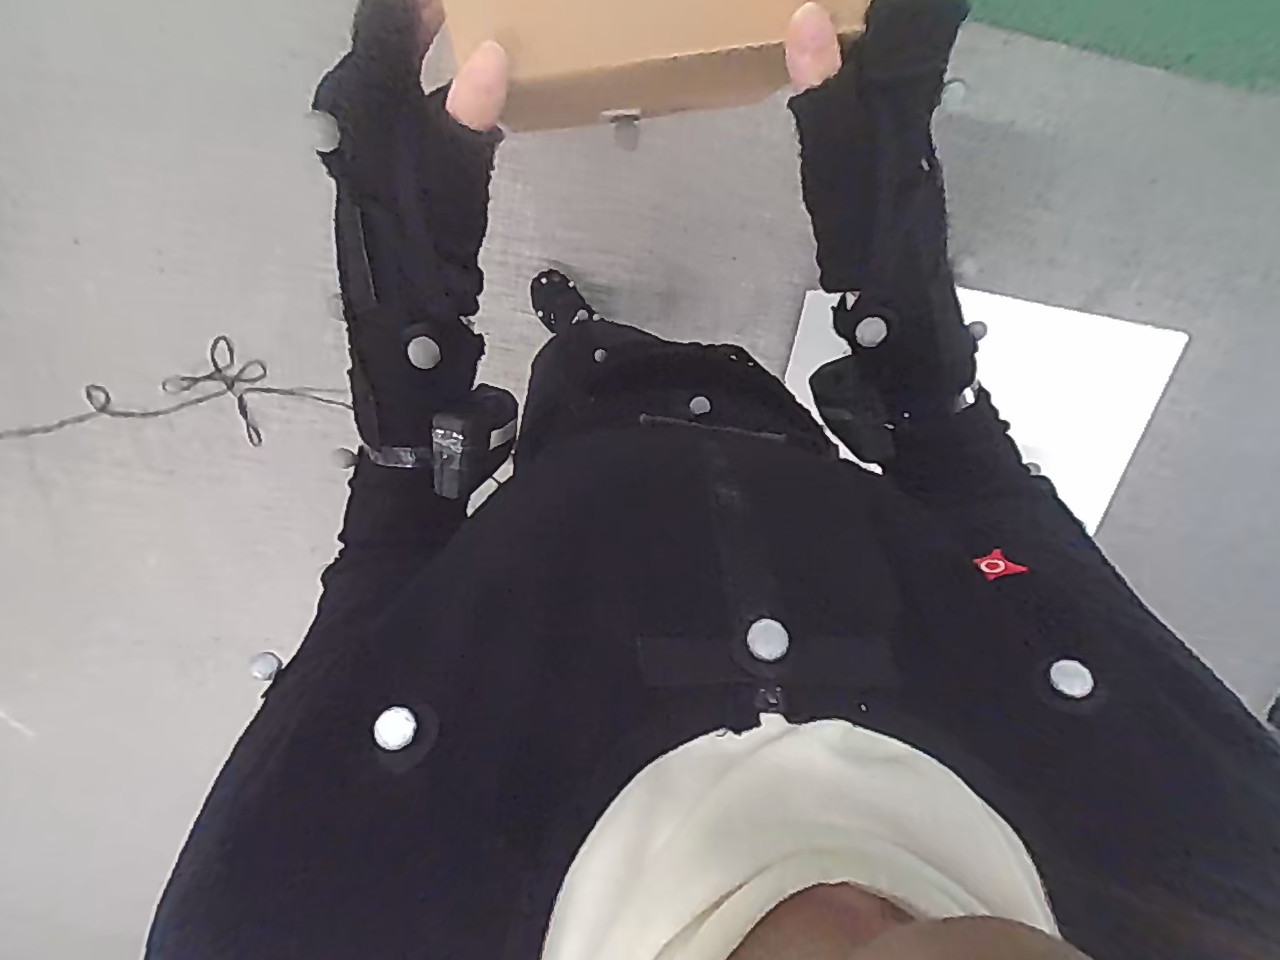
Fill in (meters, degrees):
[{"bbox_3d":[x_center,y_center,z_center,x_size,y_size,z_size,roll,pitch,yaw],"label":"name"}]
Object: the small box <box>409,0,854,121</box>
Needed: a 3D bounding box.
[{"bbox_3d":[-0.016,-0.277,0.231,0.168,0.176,0.179,-9,118,0],"label":"small box"}]
